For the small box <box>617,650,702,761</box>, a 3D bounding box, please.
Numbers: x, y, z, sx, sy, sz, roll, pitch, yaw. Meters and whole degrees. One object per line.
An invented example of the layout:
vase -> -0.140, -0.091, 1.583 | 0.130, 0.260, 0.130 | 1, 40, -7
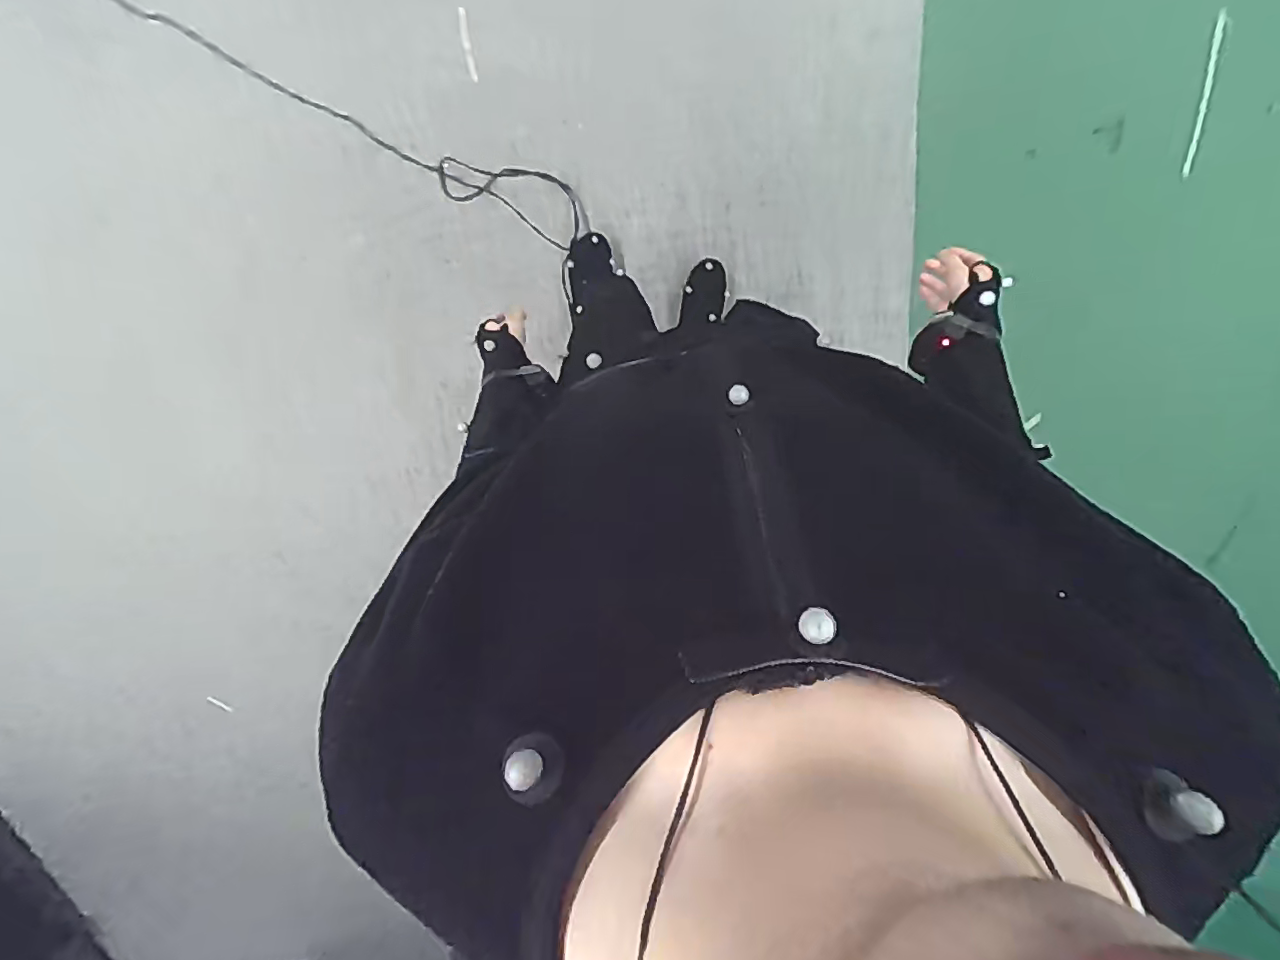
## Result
small box -> 0.045, 0.518, 1.235 | 0.168, 0.176, 0.179 | -9, 111, 3

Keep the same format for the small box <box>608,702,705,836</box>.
small box -> 0.033, 0.565, 1.078 | 0.168, 0.176, 0.179 | -8, 110, 4
